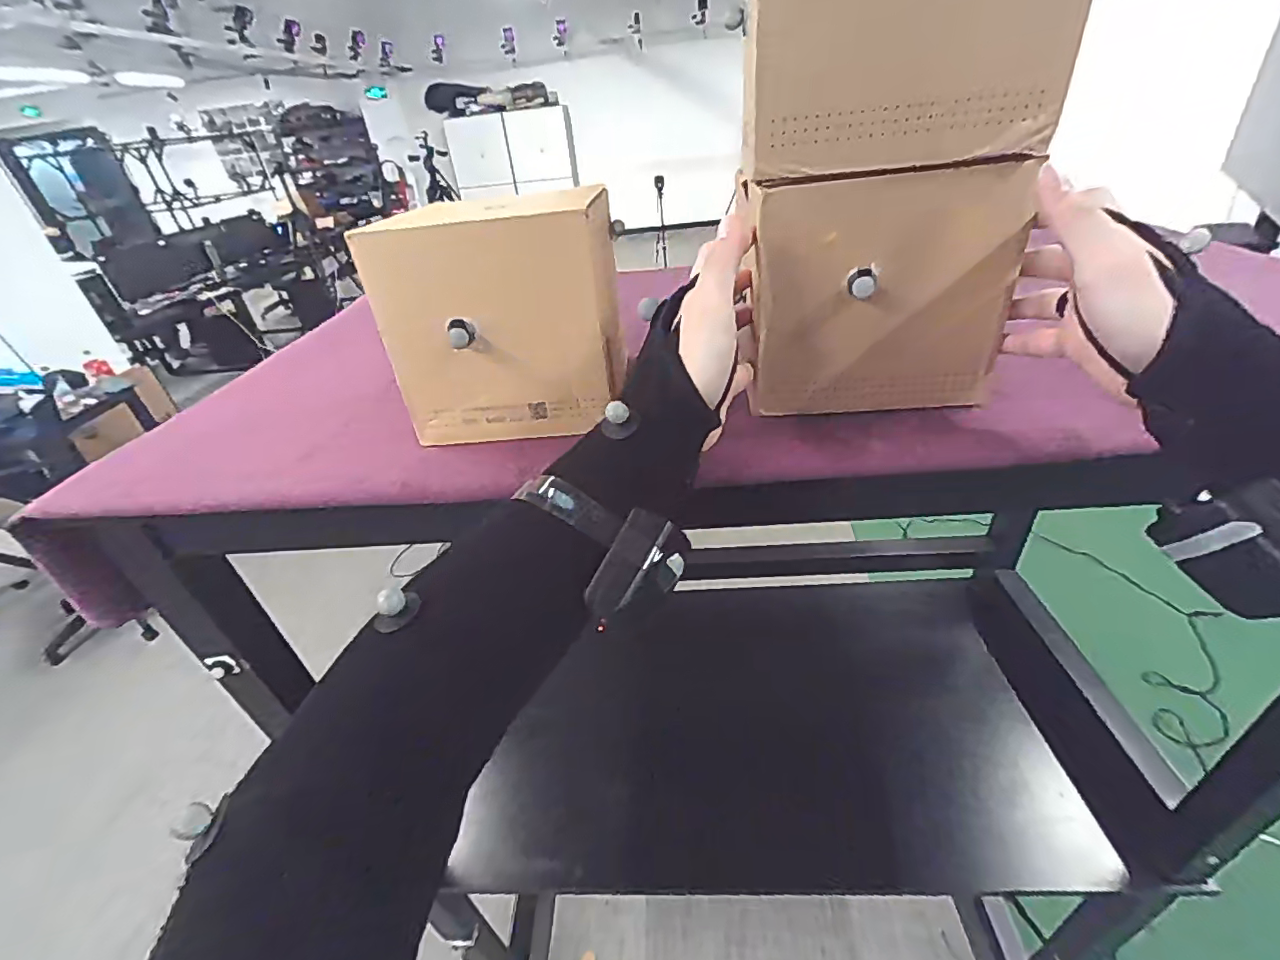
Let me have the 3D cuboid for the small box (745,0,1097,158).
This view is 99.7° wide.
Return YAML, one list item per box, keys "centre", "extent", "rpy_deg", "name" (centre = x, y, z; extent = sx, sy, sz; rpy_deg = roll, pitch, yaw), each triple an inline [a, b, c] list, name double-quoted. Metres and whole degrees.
- centre: [0.153, -0.300, 0.326]
  extent: [0.179, 0.176, 0.168]
  rpy_deg: [2, 35, 10]
  name: "small box"

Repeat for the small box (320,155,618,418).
- centre: [-0.111, -0.158, 0.446]
  extent: [0.168, 0.176, 0.179]
  rpy_deg: [-3, 33, 4]
  name: "small box"

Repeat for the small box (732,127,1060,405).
- centre: [0.167, -0.167, 0.421]
  extent: [0.179, 0.176, 0.168]
  rpy_deg: [-2, 35, 7]
  name: "small box"
